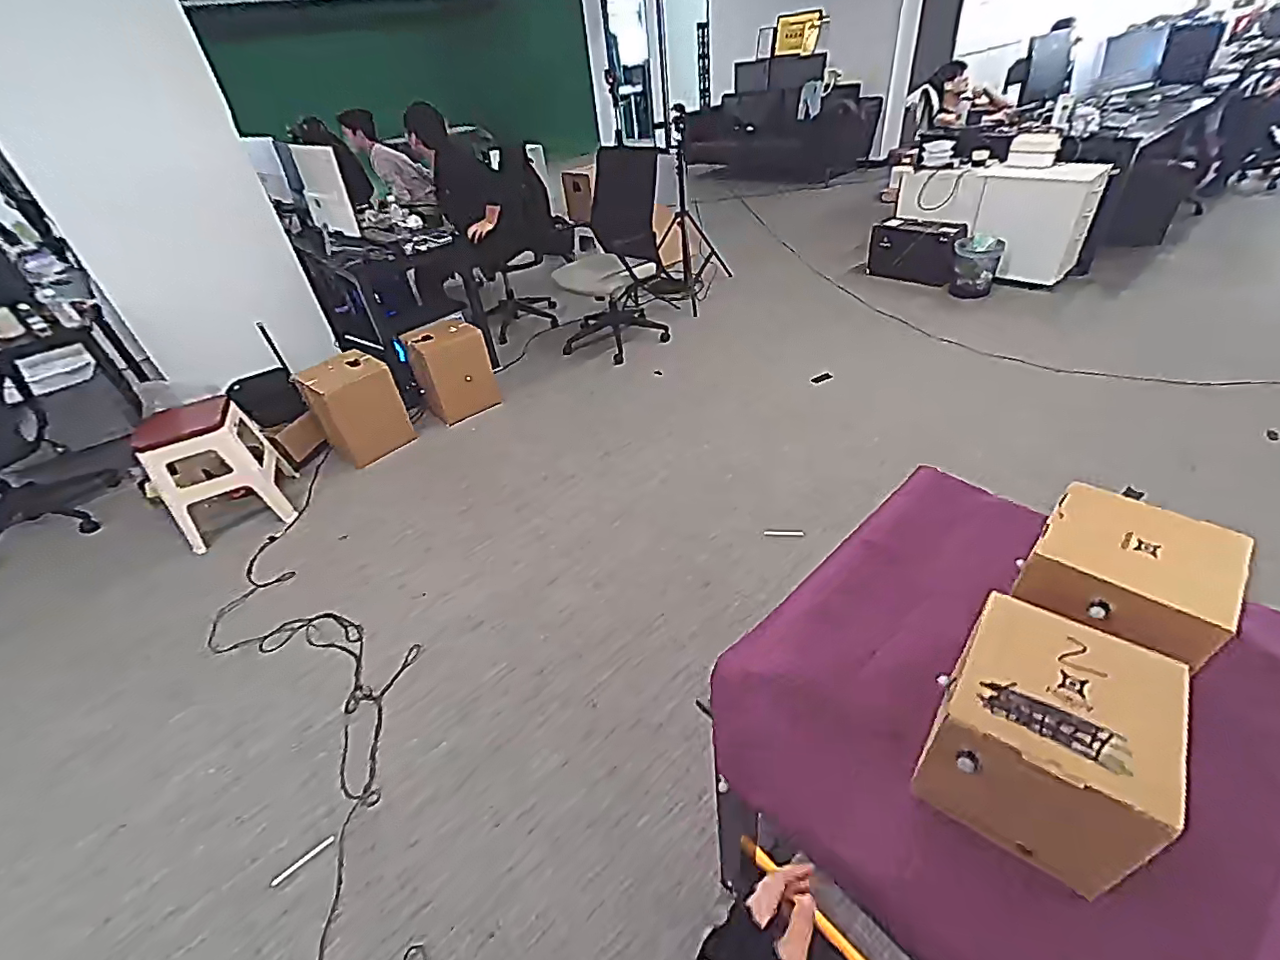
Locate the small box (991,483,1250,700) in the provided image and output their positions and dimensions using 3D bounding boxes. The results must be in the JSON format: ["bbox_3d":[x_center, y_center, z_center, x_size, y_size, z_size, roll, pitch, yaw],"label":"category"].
[{"bbox_3d":[0.579,0.139,0.669,0.179,0.176,0.168,28,50,36],"label":"small box"}]
